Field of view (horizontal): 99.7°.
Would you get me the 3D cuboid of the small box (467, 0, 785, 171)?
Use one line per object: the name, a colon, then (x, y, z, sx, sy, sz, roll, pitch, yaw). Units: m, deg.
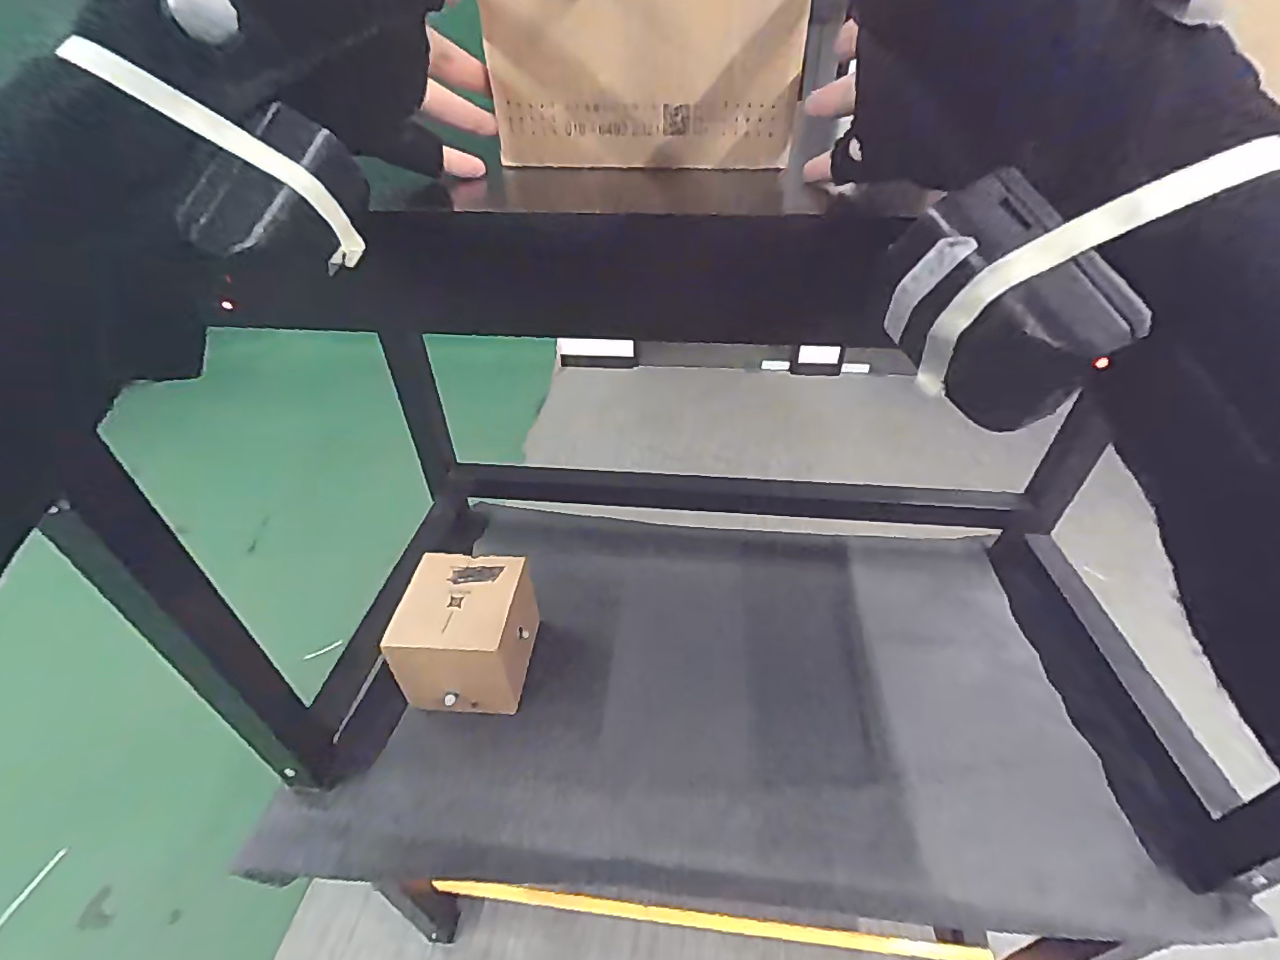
small box: (0.003, -0.293, 0.327, 0.168, 0.176, 0.179, 5, 38, 8)

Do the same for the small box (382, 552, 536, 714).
small box: (-0.265, 0.235, 0.842, 0.168, 0.176, 0.179, 1, 39, 4)
